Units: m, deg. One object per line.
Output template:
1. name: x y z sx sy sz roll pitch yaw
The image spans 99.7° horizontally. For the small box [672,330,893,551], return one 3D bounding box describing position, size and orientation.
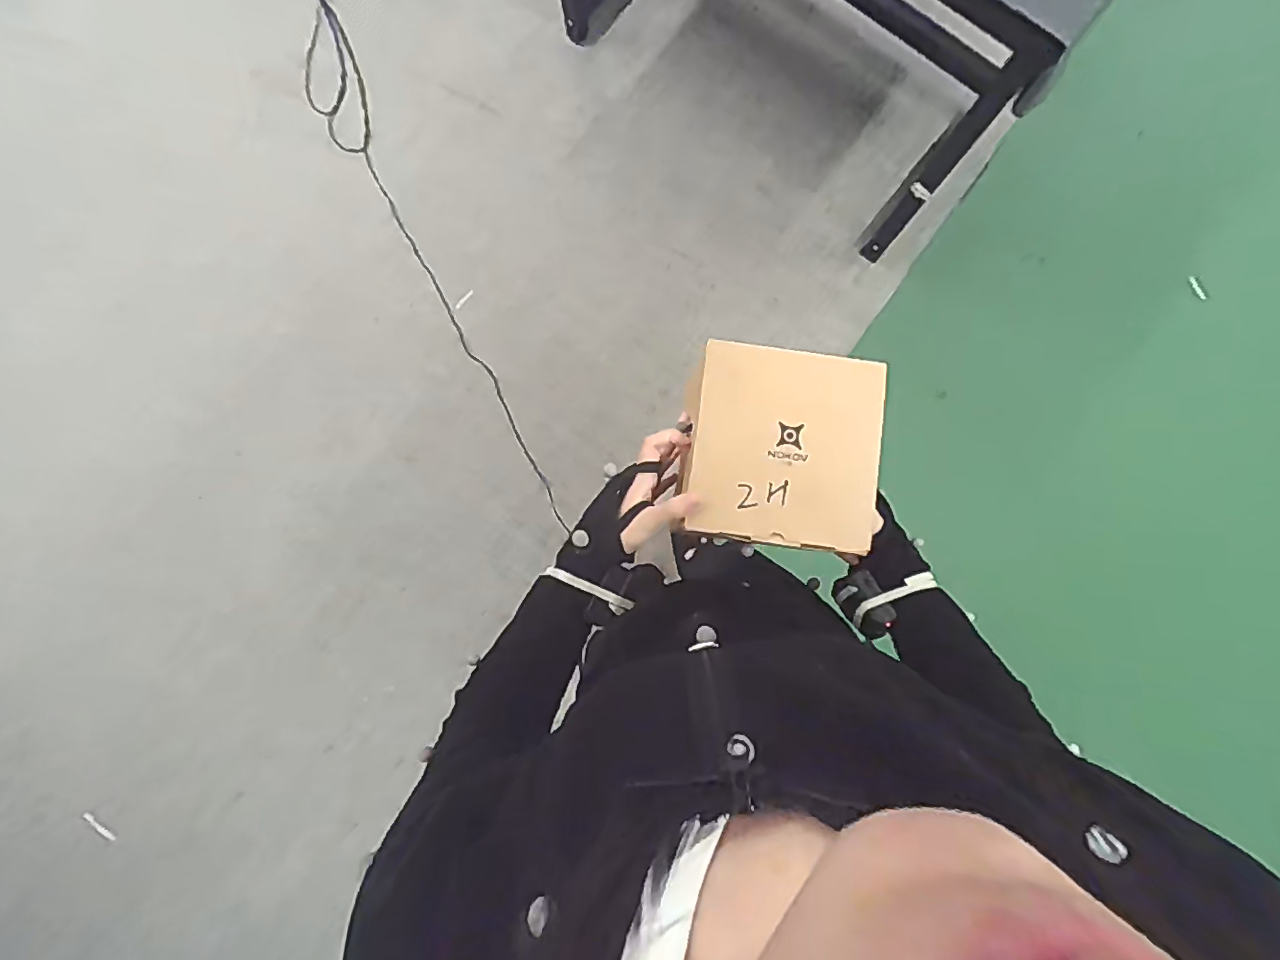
1. small box: 0.128 -0.026 0.544 0.168 0.176 0.179 8 83 -2
